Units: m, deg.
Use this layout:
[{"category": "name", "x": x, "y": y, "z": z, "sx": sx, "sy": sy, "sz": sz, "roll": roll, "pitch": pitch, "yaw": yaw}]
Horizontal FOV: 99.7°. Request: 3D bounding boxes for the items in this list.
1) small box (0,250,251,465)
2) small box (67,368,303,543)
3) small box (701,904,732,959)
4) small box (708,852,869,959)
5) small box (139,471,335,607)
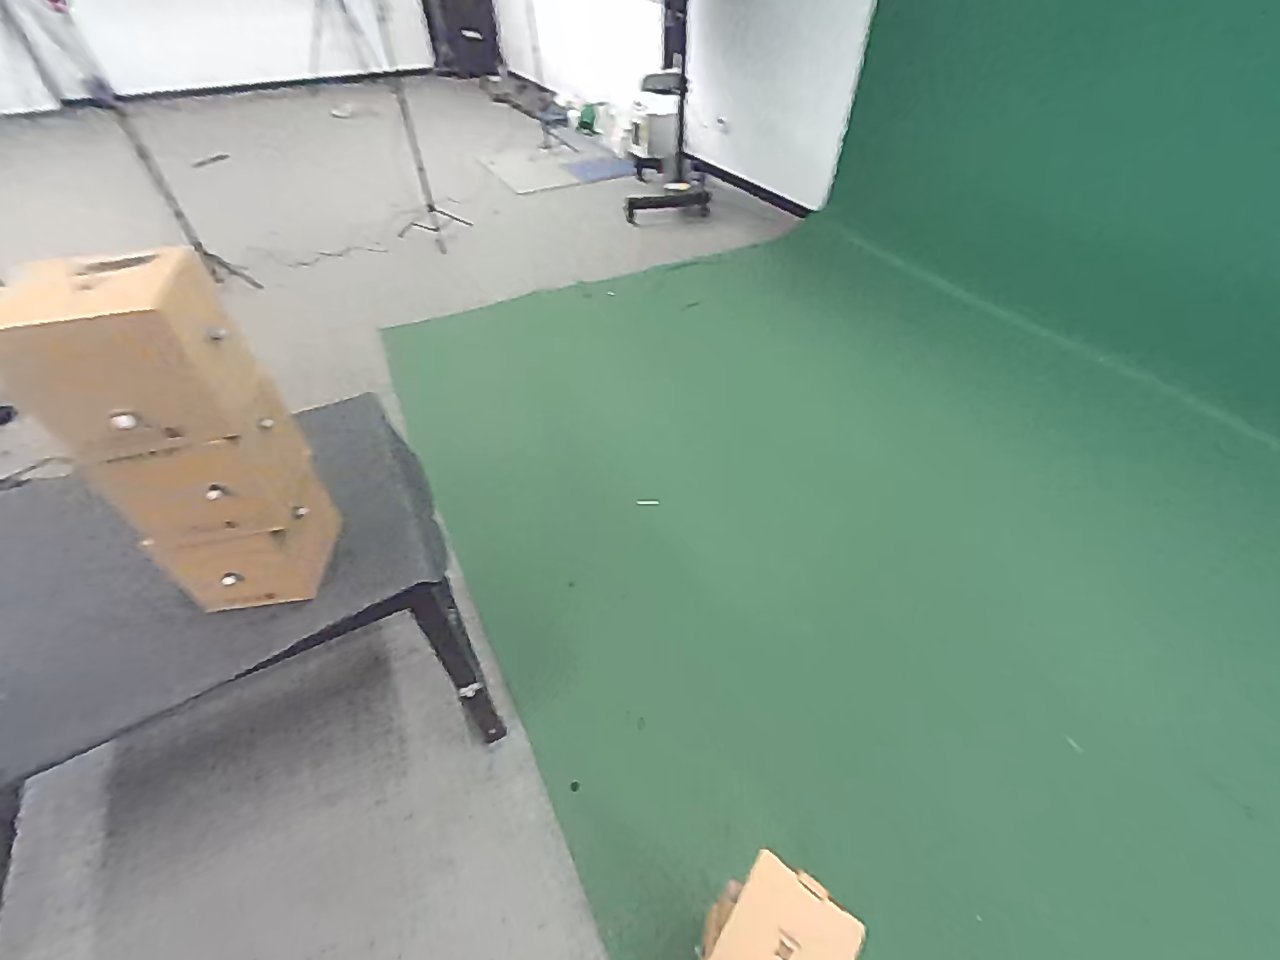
[{"category": "small box", "x": -0.591, "y": -0.145, "z": 0.630, "sx": 0.168, "sy": 0.176, "sz": 0.179, "roll": -14, "pitch": 46, "yaw": -13}, {"category": "small box", "x": -0.598, "y": -0.029, "z": 0.746, "sx": 0.168, "sy": 0.176, "sz": 0.179, "roll": -9, "pitch": 44, "yaw": -10}, {"category": "small box", "x": 0.200, "y": 0.952, "z": 1.027, "sx": 0.168, "sy": 0.176, "sz": 0.179, "roll": 12, "pitch": 46, "yaw": 13}, {"category": "small box", "x": 0.209, "y": 0.709, "z": 0.805, "sx": 0.168, "sy": 0.176, "sz": 0.179, "roll": 27, "pitch": 52, "yaw": 25}, {"category": "small box", "x": -0.616, "y": 0.087, "z": 0.860, "sx": 0.168, "sy": 0.176, "sz": 0.179, "roll": -6, "pitch": 43, "yaw": -6}]
